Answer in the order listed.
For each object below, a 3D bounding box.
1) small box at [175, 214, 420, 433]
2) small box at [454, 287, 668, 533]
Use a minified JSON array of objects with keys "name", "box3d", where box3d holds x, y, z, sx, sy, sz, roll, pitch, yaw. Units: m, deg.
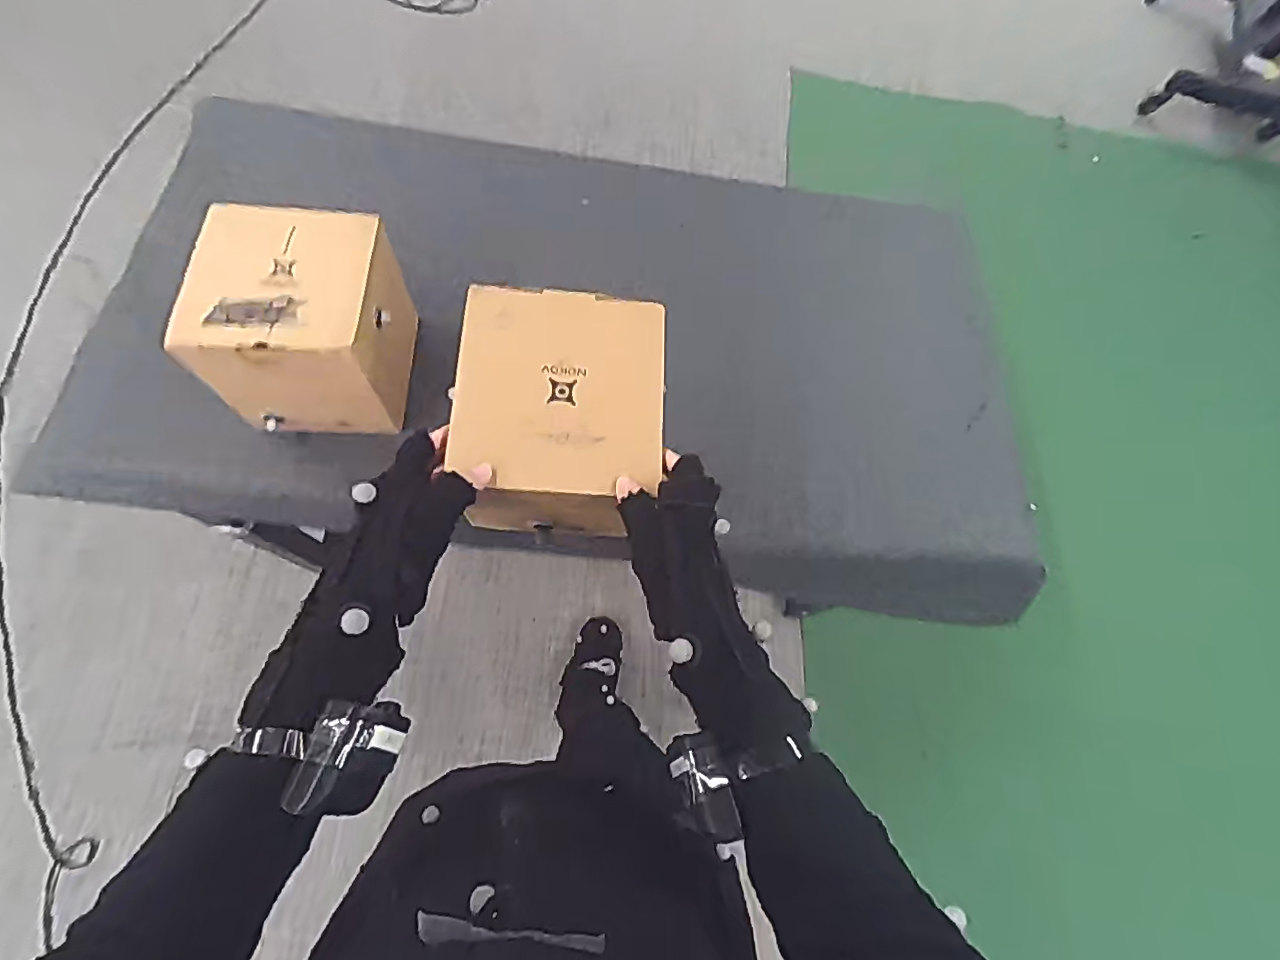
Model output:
[{"name":"small box","box3d":[-0.360,-0.165,0.612,0.168,0.176,0.179,1,66,-7]},{"name":"small box","box3d":[-0.069,-0.054,0.518,0.168,0.176,0.179,3,74,-6]}]
